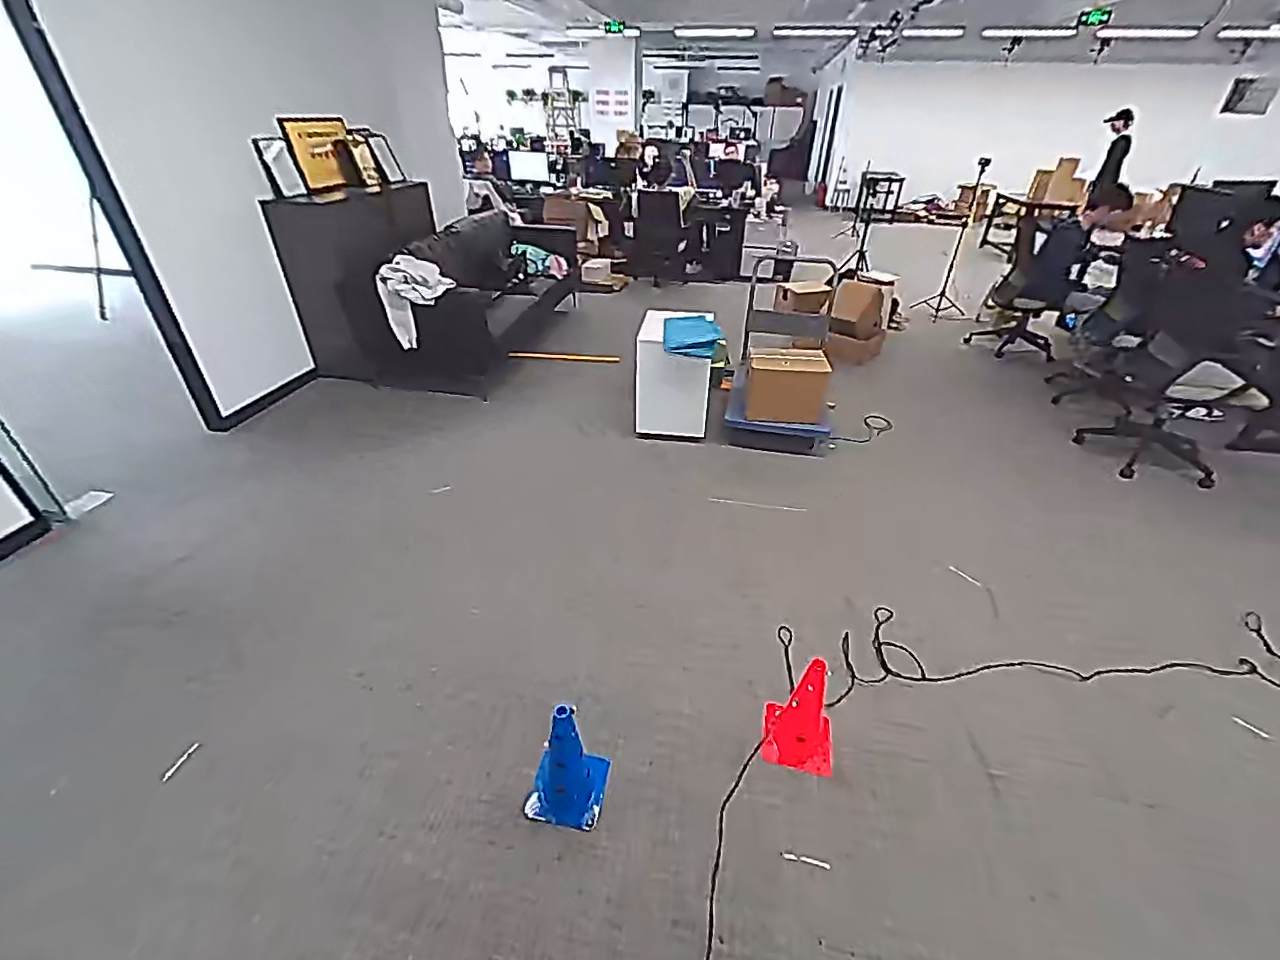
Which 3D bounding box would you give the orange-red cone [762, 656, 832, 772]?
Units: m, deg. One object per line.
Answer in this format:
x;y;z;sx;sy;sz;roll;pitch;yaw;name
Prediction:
0.476;0.631;1.542;0.198;0.360;0.199;9;36;14;orange-red cone
